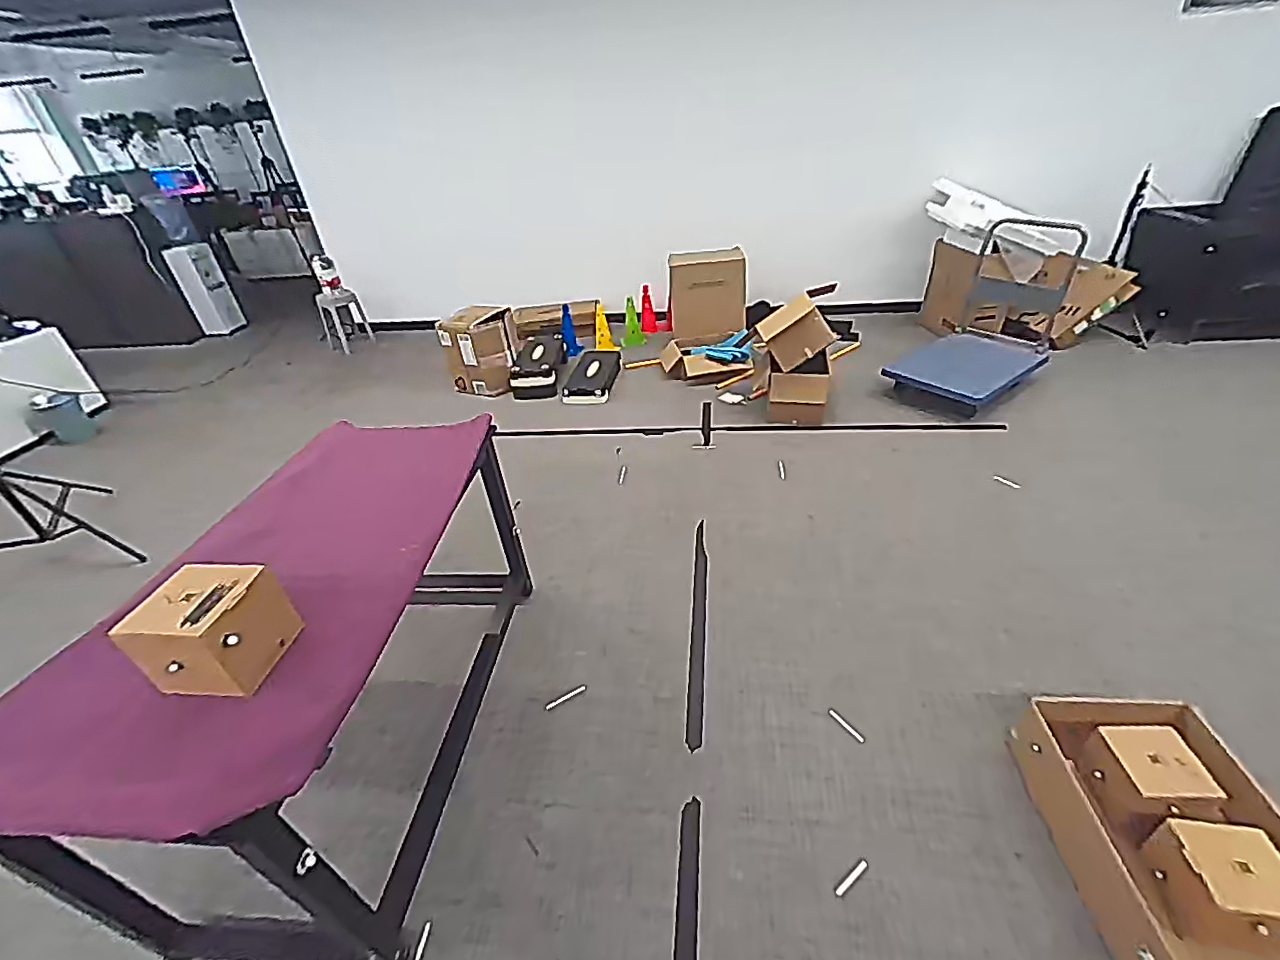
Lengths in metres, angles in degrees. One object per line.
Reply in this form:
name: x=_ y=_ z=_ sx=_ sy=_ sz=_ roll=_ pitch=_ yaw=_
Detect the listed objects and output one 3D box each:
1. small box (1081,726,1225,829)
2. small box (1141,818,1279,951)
small box: x=1.216 y=0.719 z=1.306 sx=0.179 sy=0.176 sz=0.168 roll=-2 pitch=36 yaw=5
small box: x=1.218 y=0.844 z=1.128 sx=0.179 sy=0.176 sz=0.168 roll=2 pitch=34 yaw=11
